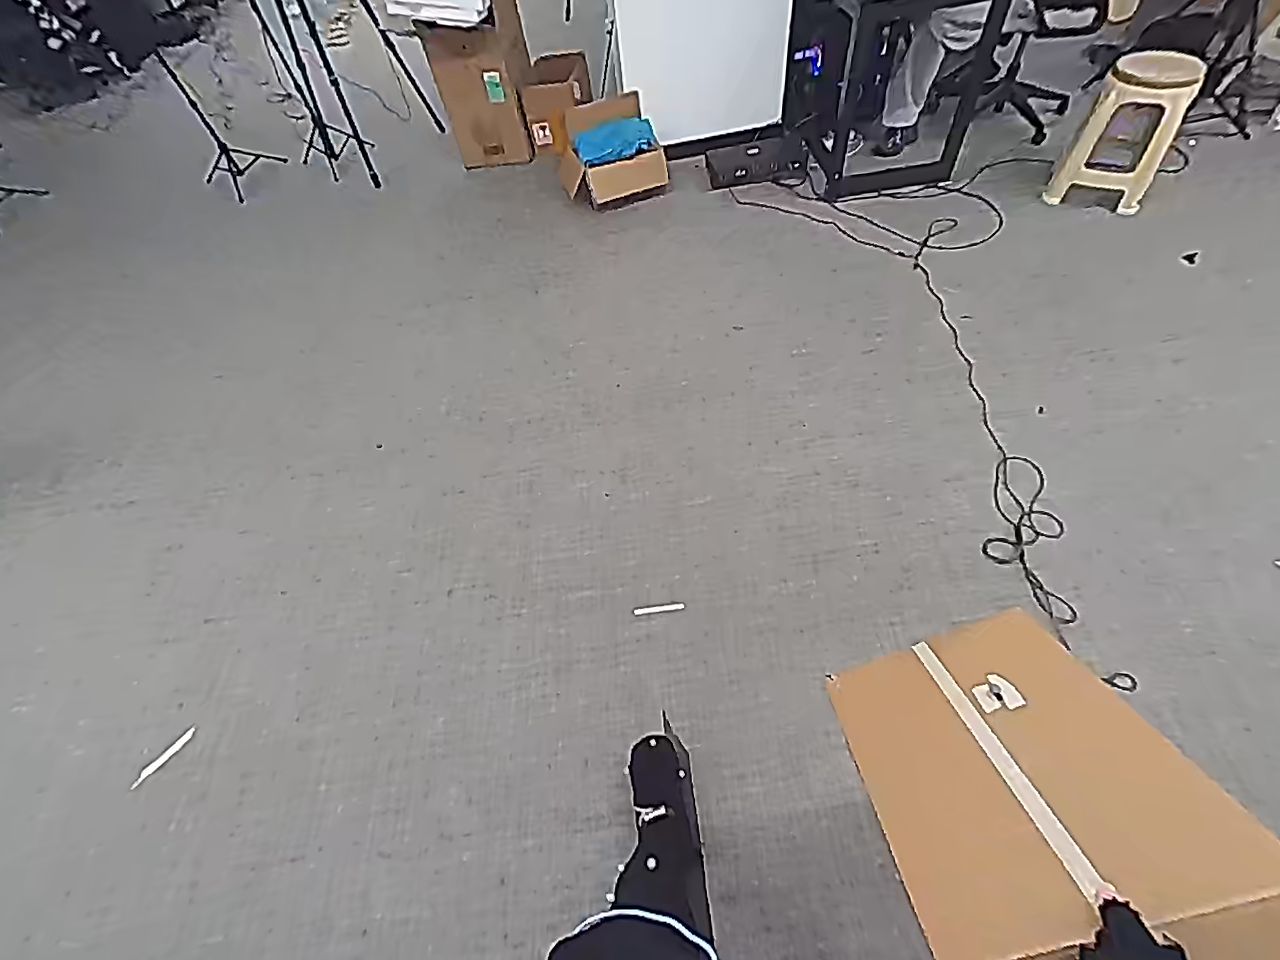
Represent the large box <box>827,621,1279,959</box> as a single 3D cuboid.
[{"bbox_3d":[0.498,0.463,0.701,0.320,0.320,0.408,-23,15,10],"label":"large box"}]
